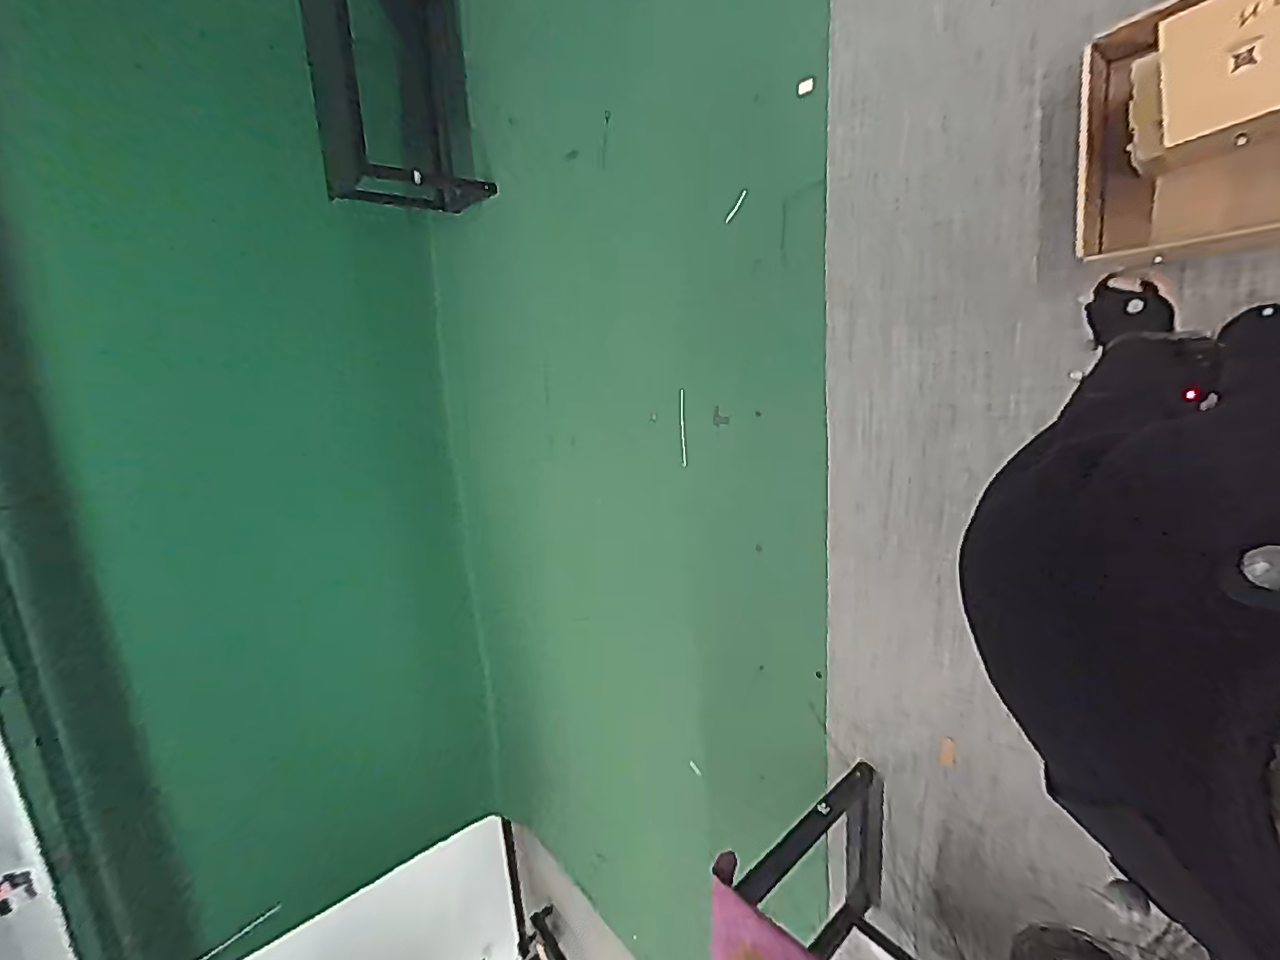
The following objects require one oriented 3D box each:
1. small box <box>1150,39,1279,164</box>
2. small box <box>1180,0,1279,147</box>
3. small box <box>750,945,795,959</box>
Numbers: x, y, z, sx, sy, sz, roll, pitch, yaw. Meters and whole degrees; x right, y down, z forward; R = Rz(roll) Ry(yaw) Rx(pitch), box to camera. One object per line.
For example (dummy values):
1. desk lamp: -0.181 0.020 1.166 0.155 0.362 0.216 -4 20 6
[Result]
1. small box: 0.986 -0.655 0.902 0.179 0.176 0.168 1 103 50
2. small box: 0.894 -0.603 0.768 0.168 0.176 0.179 -2 101 49
3. small box: 0.310 1.203 1.207 0.179 0.176 0.168 8 105 50
